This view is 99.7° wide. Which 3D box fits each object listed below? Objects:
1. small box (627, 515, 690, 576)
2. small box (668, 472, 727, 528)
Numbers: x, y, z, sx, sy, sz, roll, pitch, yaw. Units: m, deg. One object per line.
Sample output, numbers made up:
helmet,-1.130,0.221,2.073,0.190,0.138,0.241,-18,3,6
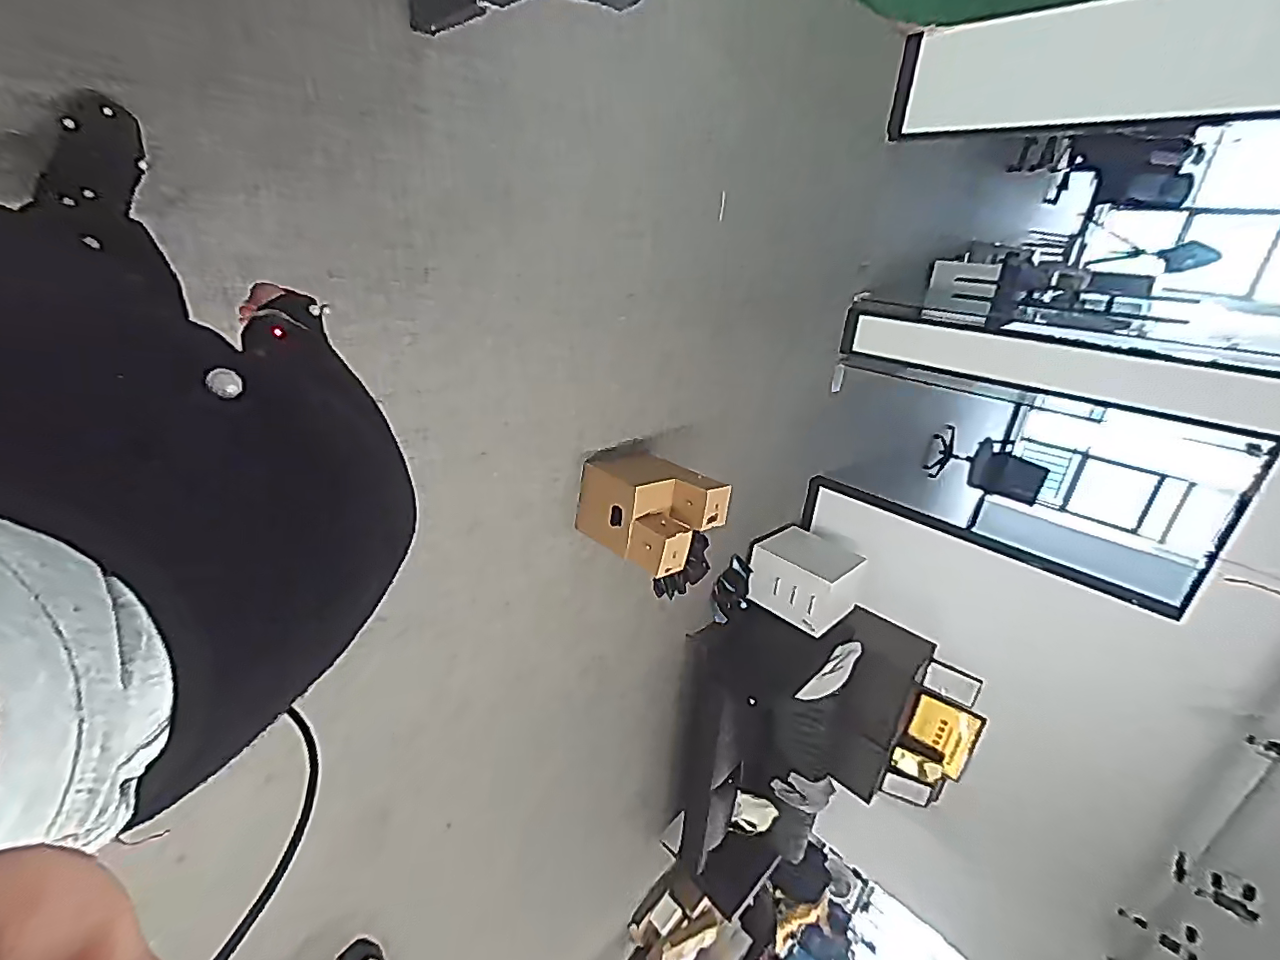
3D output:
small box,0.068,0.249,2.126,0.168,0.176,0.179,-11,118,-48
small box,0.235,0.079,2.237,0.168,0.176,0.179,-10,114,-47
